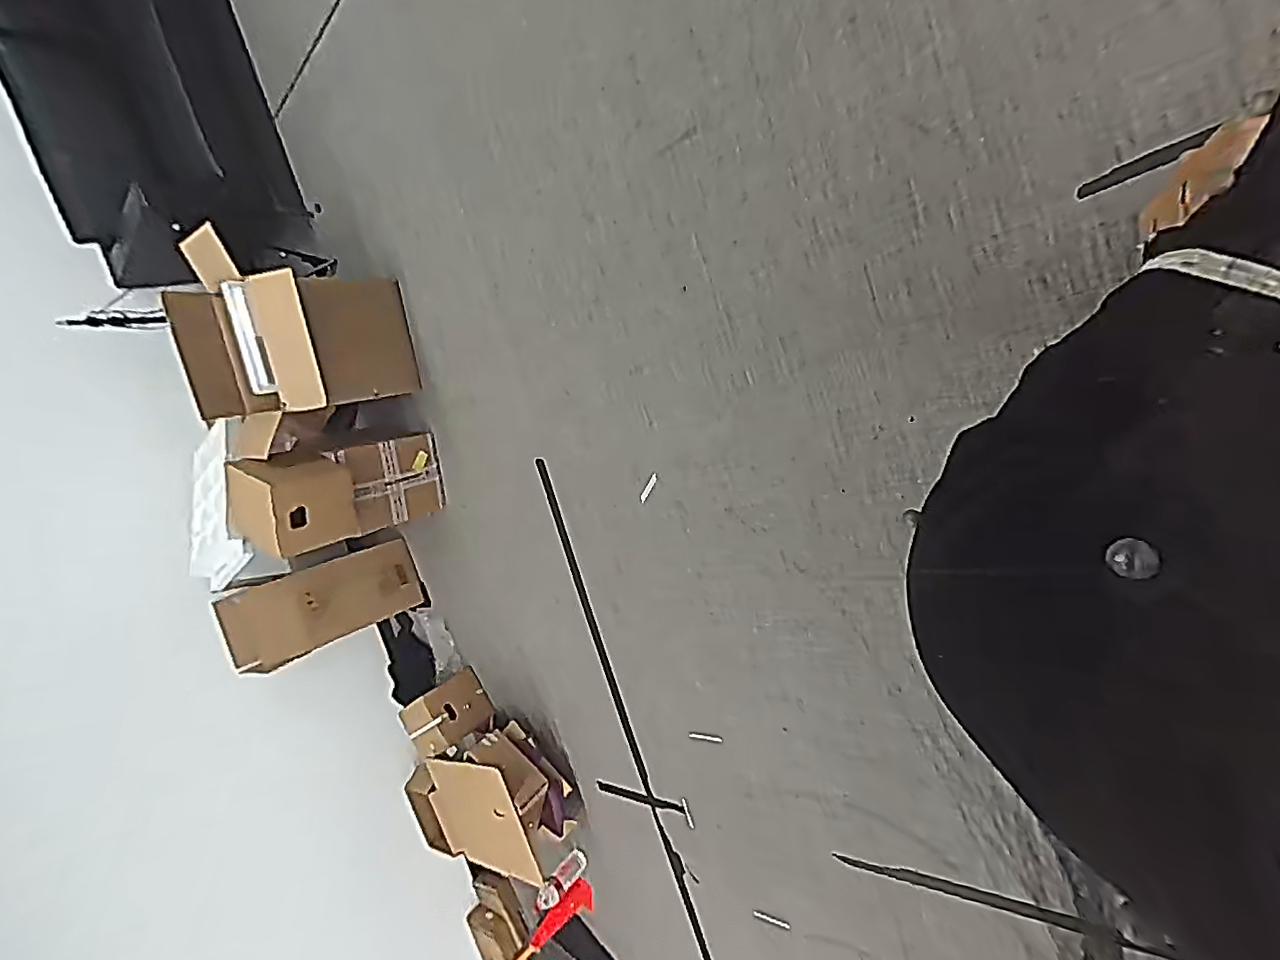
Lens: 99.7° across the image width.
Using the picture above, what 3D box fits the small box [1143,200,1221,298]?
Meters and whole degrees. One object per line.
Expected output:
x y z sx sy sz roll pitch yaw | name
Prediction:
1.005 -0.423 0.940 0.179 0.176 0.168 -3 104 39 | small box

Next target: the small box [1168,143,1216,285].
0.805 -0.352 0.692 0.179 0.176 0.168 -3 105 38 | small box

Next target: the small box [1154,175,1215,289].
0.904 -0.388 0.815 0.179 0.176 0.168 1 107 38 | small box

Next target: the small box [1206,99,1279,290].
0.717 -0.305 0.560 0.168 0.176 0.179 -3 105 40 | small box
